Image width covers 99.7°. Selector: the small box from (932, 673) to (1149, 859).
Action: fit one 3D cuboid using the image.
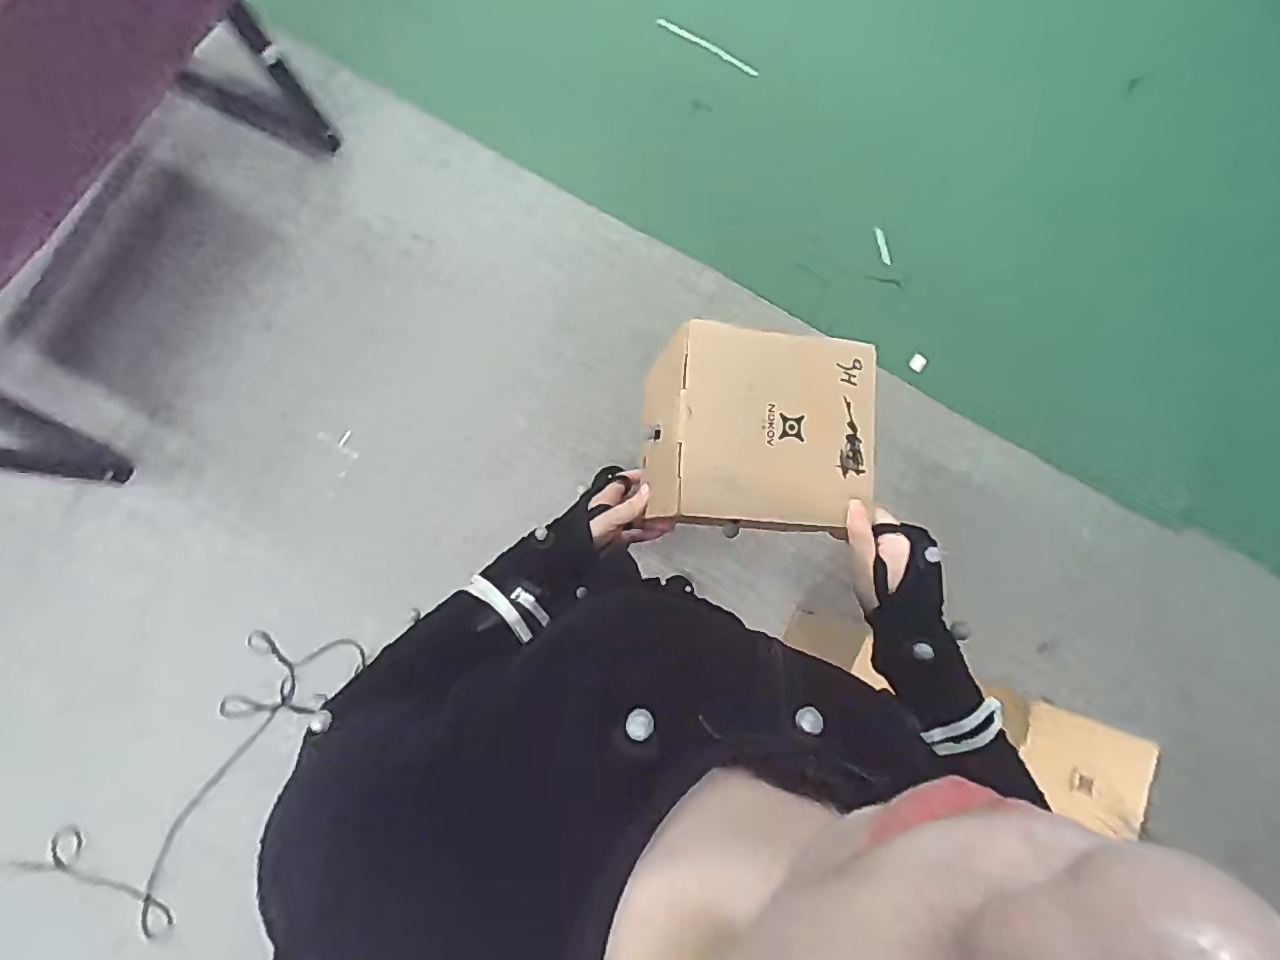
[{"bbox_3d":[0.581,0.408,0.805,0.179,0.176,0.168,20,83,2],"label":"small box"}]
